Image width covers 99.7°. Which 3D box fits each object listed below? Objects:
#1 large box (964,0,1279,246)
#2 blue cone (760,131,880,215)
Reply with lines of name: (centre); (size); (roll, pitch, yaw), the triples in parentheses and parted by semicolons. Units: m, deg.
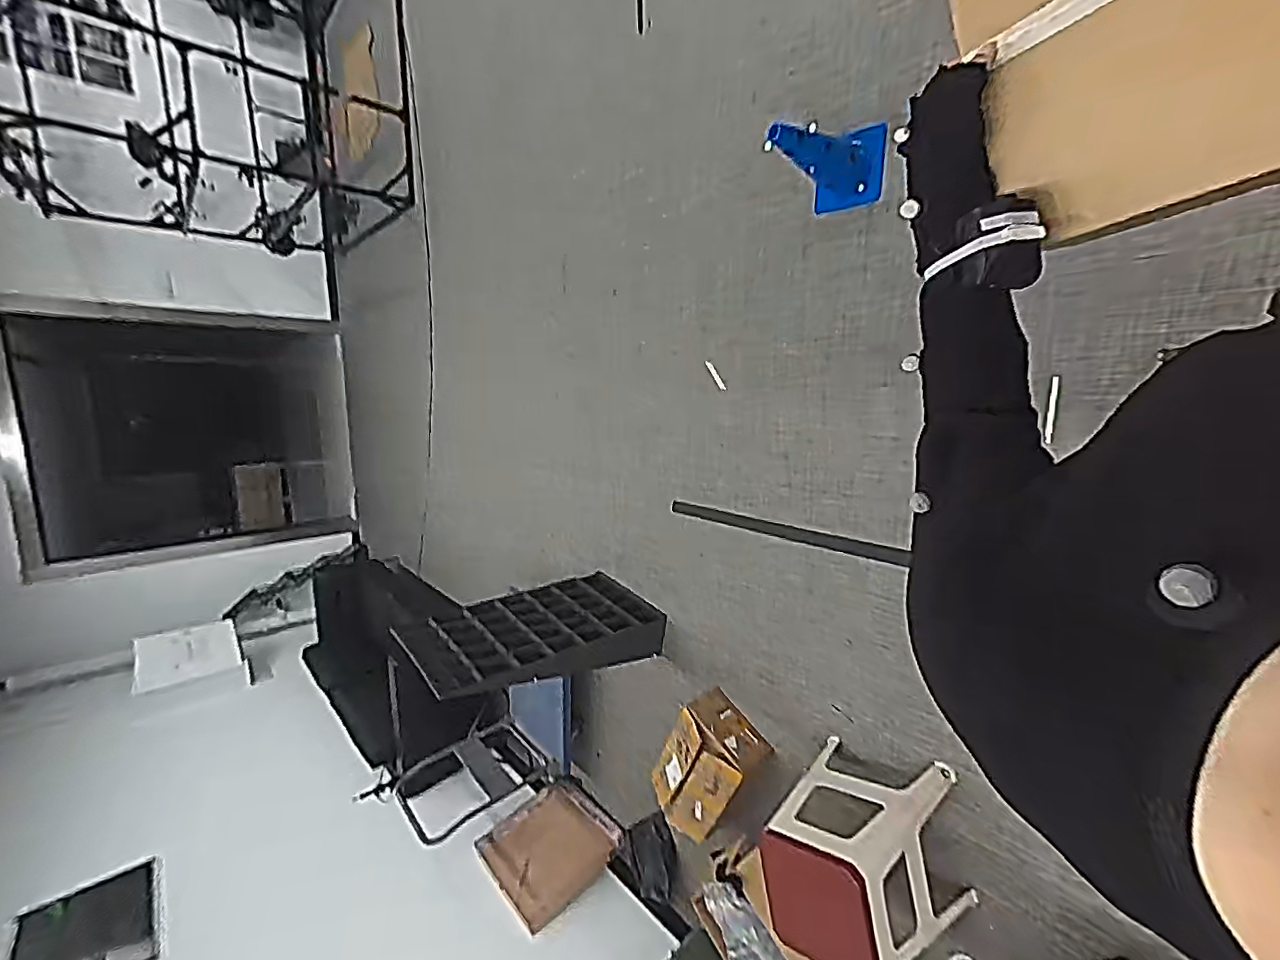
large box: (0.507, -0.401, 0.388); (0.408, 0.320, 0.320); (-6, 104, 49)
blue cone: (0.455, -0.847, 1.421); (0.192, 0.380, 0.193); (16, 108, 48)
